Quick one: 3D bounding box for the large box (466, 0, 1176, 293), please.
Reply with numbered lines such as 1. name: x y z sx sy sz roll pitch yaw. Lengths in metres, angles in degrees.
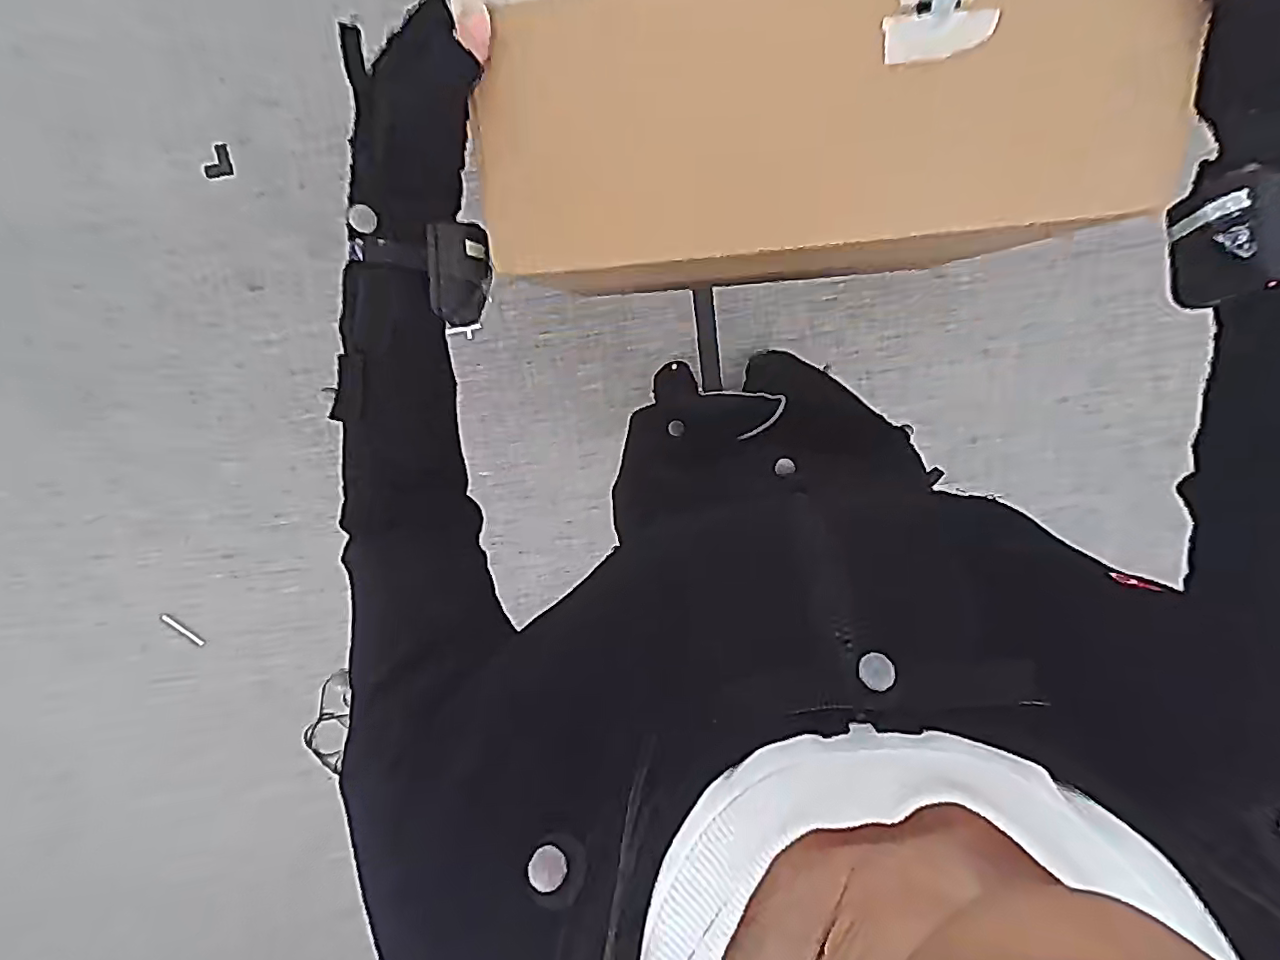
1. large box: 0.101 -0.345 0.445 0.408 0.320 0.320 -4 106 6
